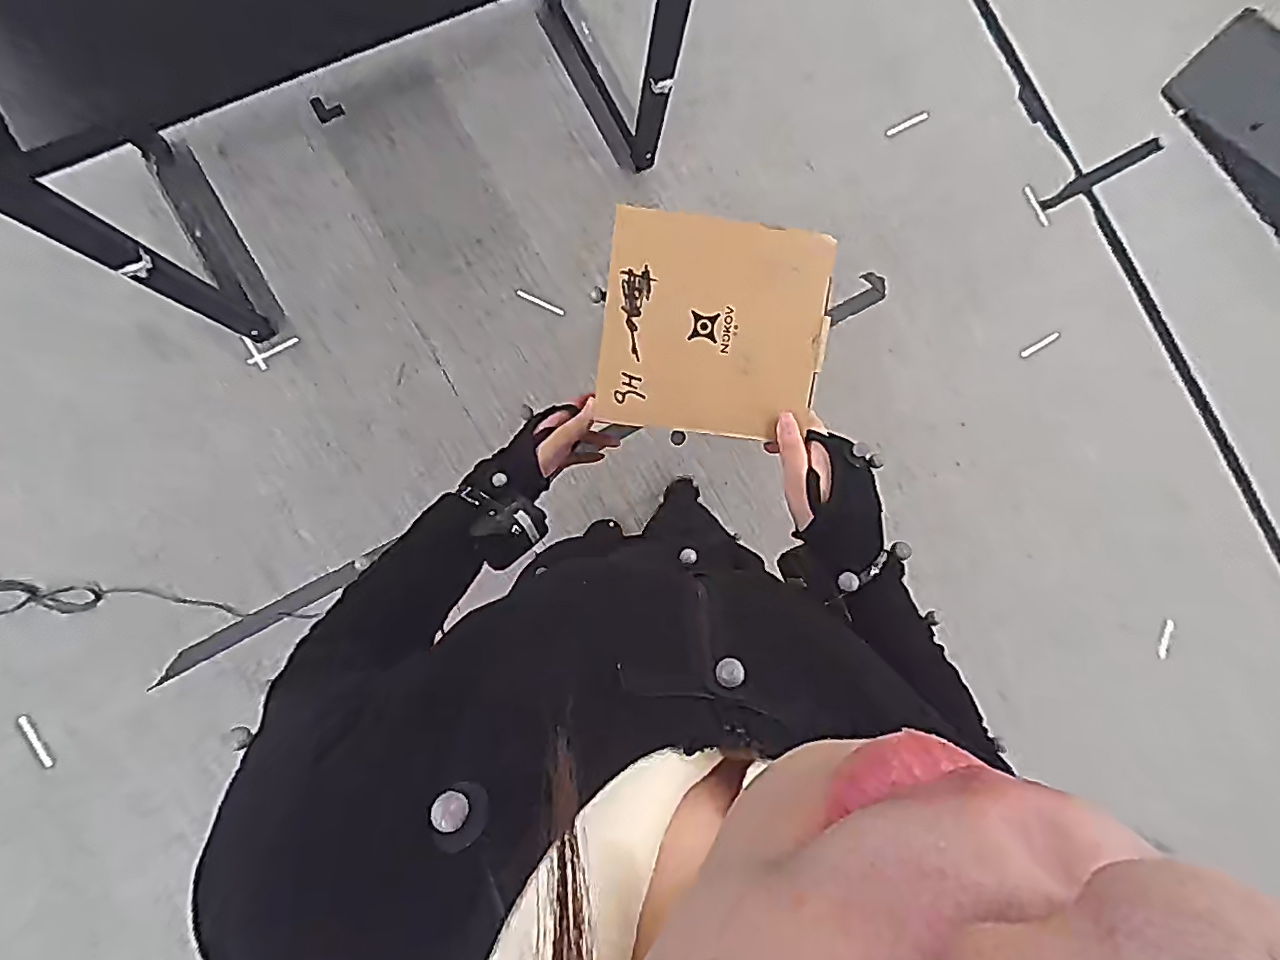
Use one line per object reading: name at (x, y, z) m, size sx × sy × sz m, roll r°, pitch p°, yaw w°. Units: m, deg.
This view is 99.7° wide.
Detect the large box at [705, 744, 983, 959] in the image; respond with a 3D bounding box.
large box at (0.415, 0.874, 1.181) m, size 0.408 × 0.320 × 0.320 m, roll -29°, pitch 92°, yaw -9°

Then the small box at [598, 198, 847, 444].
small box at (0.057, -0.129, 0.494) m, size 0.179 × 0.176 × 0.168 m, roll 6°, pitch 96°, yaw -5°
